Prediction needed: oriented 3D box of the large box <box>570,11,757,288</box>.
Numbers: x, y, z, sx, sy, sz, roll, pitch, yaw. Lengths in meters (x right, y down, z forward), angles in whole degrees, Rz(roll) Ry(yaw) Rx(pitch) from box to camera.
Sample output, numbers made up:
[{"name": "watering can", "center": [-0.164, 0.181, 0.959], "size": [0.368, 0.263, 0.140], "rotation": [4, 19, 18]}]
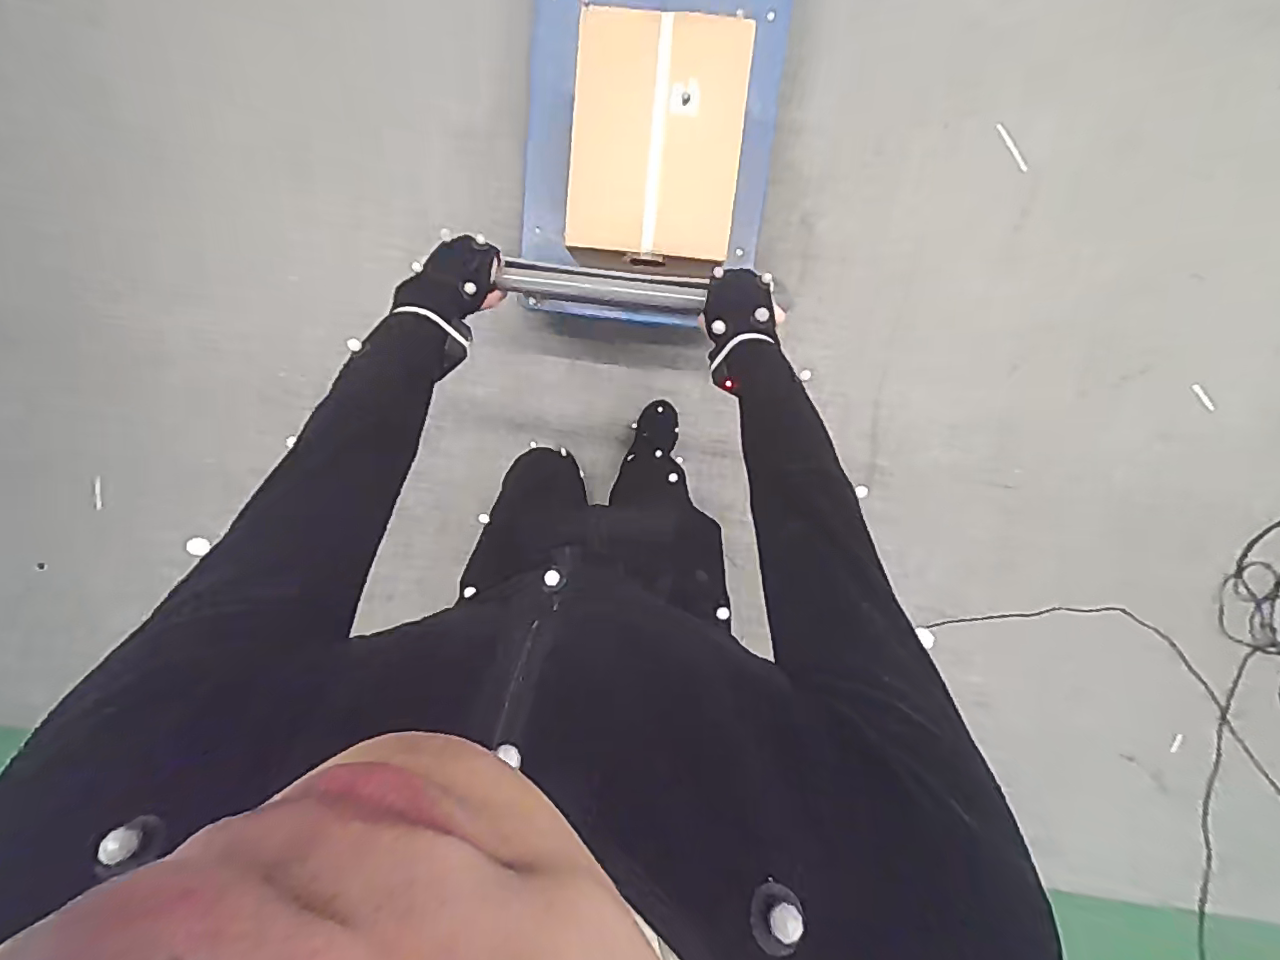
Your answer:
[{"name": "large box", "center": [0.043, -0.643, 1.130], "size": [0.320, 0.320, 0.408], "rotation": [6, 100, 0]}]
